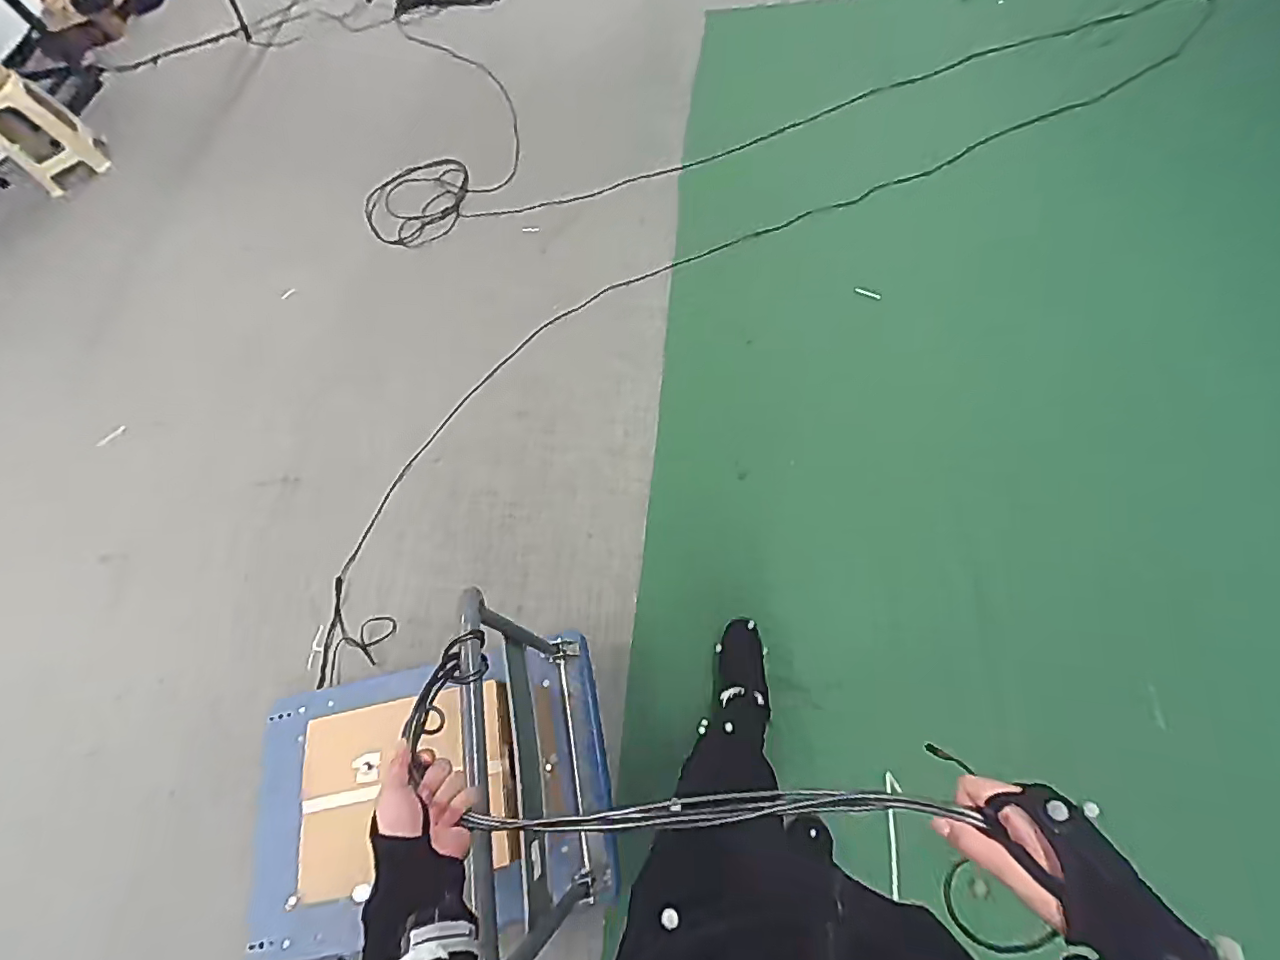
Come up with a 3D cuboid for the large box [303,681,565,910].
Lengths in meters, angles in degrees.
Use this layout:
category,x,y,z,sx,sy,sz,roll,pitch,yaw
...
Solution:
category,x,y,z,sx,sy,sz,roll,pitch,yaw
large box,-0.409,0.634,1.139,0.408,0.320,0.320,-15,64,5
